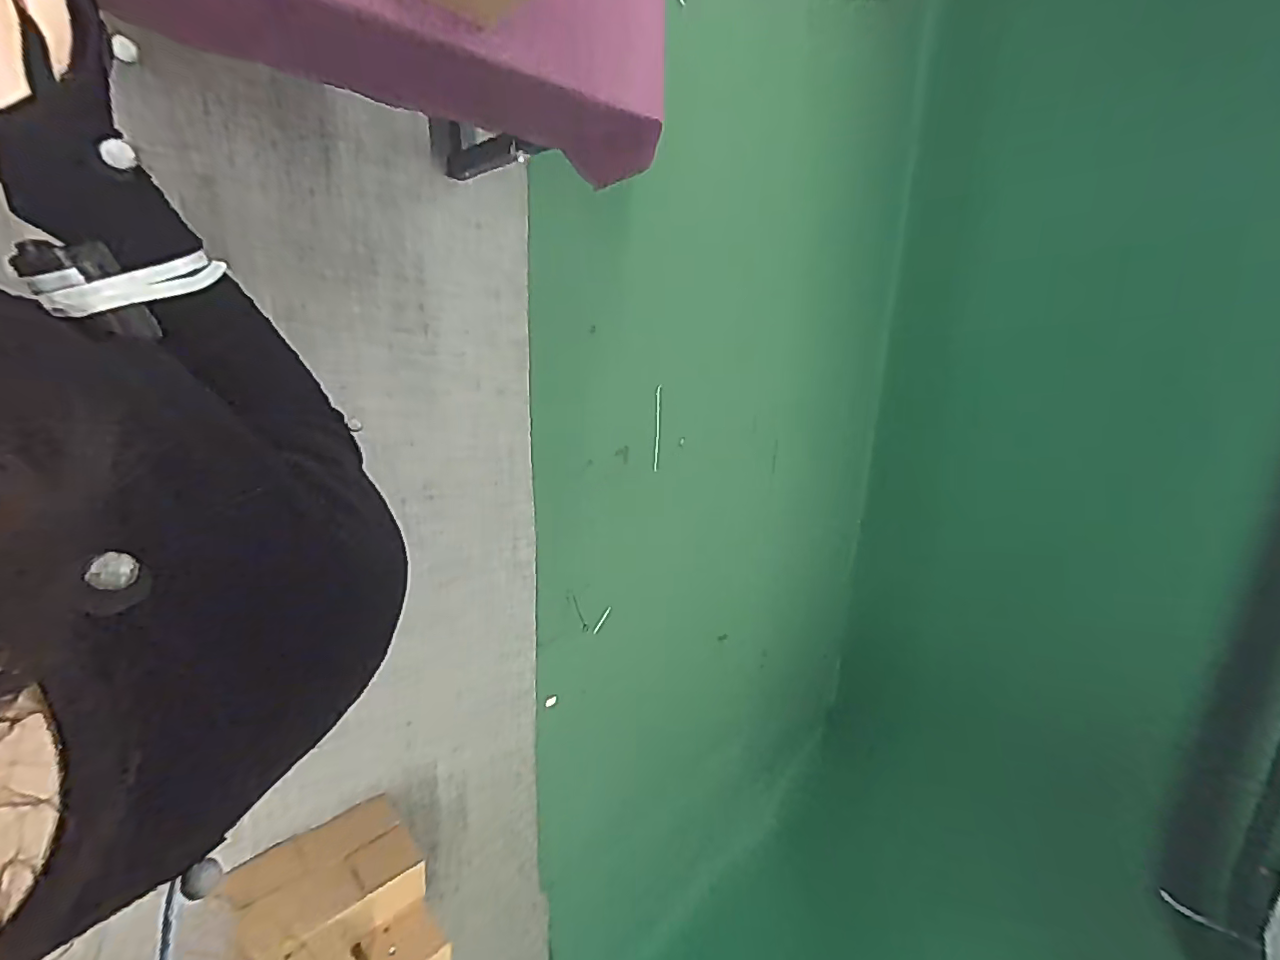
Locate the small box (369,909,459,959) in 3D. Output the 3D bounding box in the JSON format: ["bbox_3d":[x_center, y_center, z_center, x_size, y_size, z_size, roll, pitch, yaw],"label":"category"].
[{"bbox_3d":[-0.586,1.266,1.397,0.168,0.176,0.179,-9,109,-46],"label":"small box"}]

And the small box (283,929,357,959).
[{"bbox_3d":[-0.726,1.181,1.214,0.168,0.176,0.179,-5,106,-46],"label":"small box"}]
